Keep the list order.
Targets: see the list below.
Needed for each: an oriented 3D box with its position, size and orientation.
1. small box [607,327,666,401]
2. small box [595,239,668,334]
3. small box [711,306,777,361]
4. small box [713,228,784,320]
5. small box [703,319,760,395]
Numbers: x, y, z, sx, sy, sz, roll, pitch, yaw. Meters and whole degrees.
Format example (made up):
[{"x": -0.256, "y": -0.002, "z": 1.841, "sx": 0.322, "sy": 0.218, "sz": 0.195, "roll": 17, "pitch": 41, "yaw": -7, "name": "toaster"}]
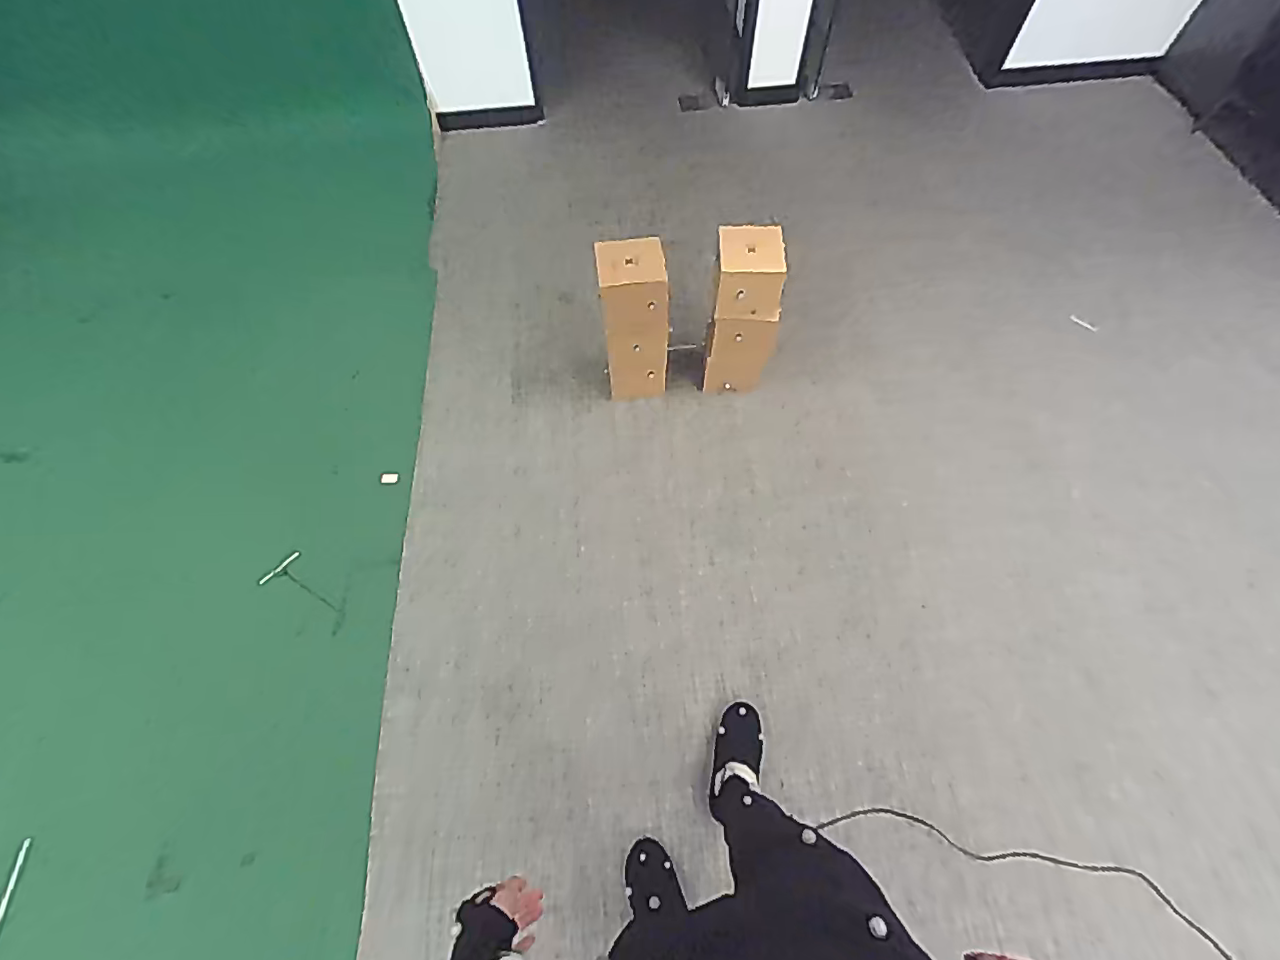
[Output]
[{"x": -0.013, "y": -0.373, "z": 1.748, "sx": 0.179, "sy": 0.176, "sz": 0.168, "roll": -5, "pitch": 61, "yaw": -1, "name": "small box"}, {"x": -0.022, "y": -0.515, "z": 1.452, "sx": 0.179, "sy": 0.176, "sz": 0.168, "roll": -7, "pitch": 62, "yaw": -1, "name": "small box"}, {"x": 0.303, "y": -0.472, "z": 1.608, "sx": 0.179, "sy": 0.176, "sz": 0.168, "roll": 3, "pitch": 63, "yaw": 4, "name": "small box"}, {"x": 0.287, "y": -0.553, "z": 1.467, "sx": 0.168, "sy": 0.176, "sz": 0.179, "roll": 1, "pitch": 62, "yaw": 2, "name": "small box"}, {"x": 0.291, "y": -0.398, "z": 1.754, "sx": 0.168, "sy": 0.176, "sz": 0.179, "roll": 3, "pitch": 63, "yaw": 4, "name": "small box"}]
